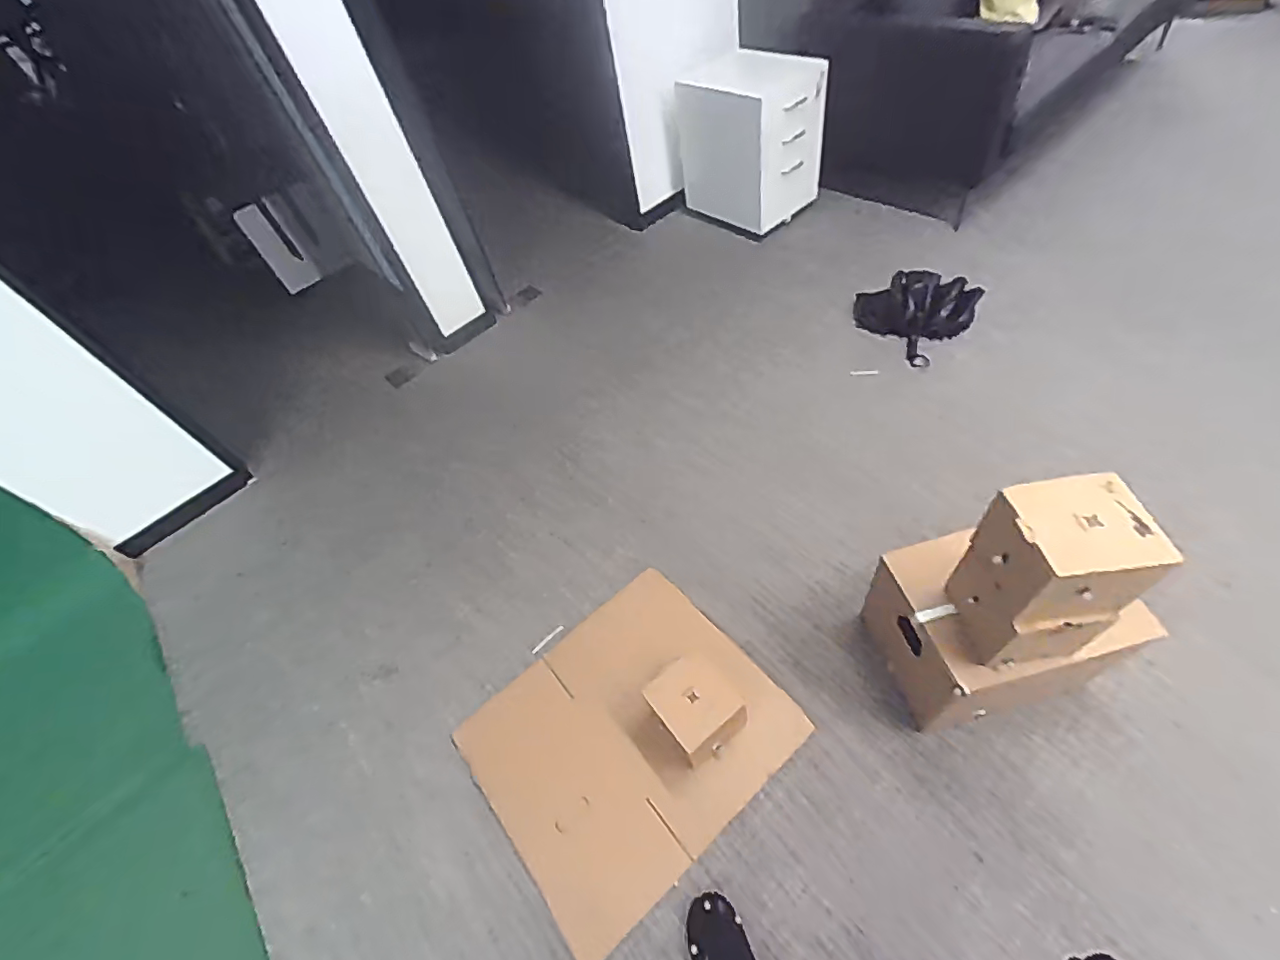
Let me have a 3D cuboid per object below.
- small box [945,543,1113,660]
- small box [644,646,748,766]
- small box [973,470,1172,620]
[{"bbox_3d":[0.698,0.219,0.997,0.168,0.176,0.179,-10,51,4],"label":"small box"},{"bbox_3d":[0.134,0.530,1.260,0.168,0.176,0.179,-37,54,-15],"label":"small box"},{"bbox_3d":[0.675,0.111,0.879,0.179,0.176,0.168,-11,49,3],"label":"small box"}]
